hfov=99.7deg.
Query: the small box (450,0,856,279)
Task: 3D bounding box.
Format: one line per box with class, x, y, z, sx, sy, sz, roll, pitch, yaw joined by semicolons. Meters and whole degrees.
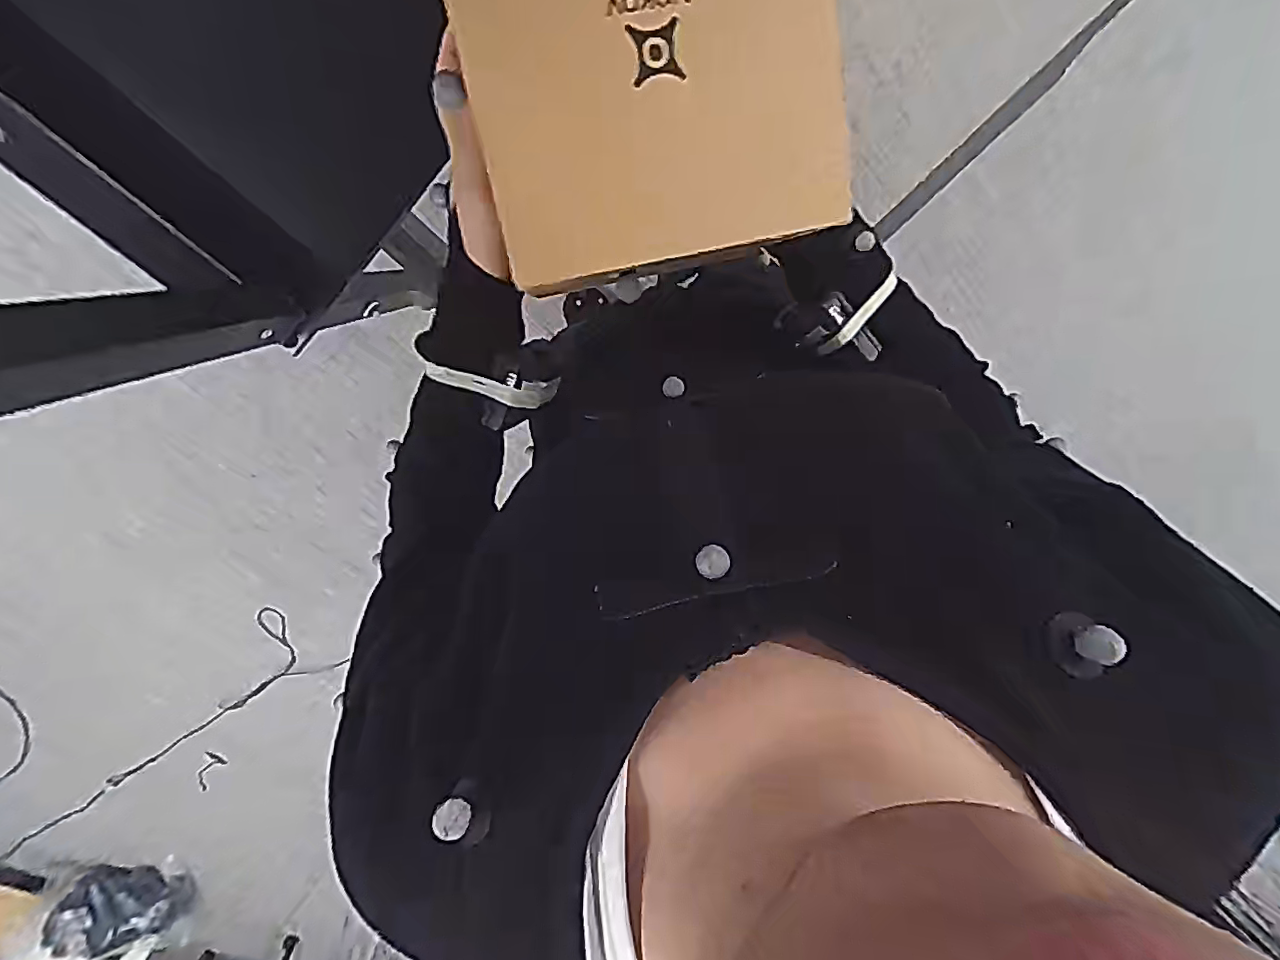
small box;-0.001;-0.214;0.299;0.168;0.176;0.179;-12;108;-3
